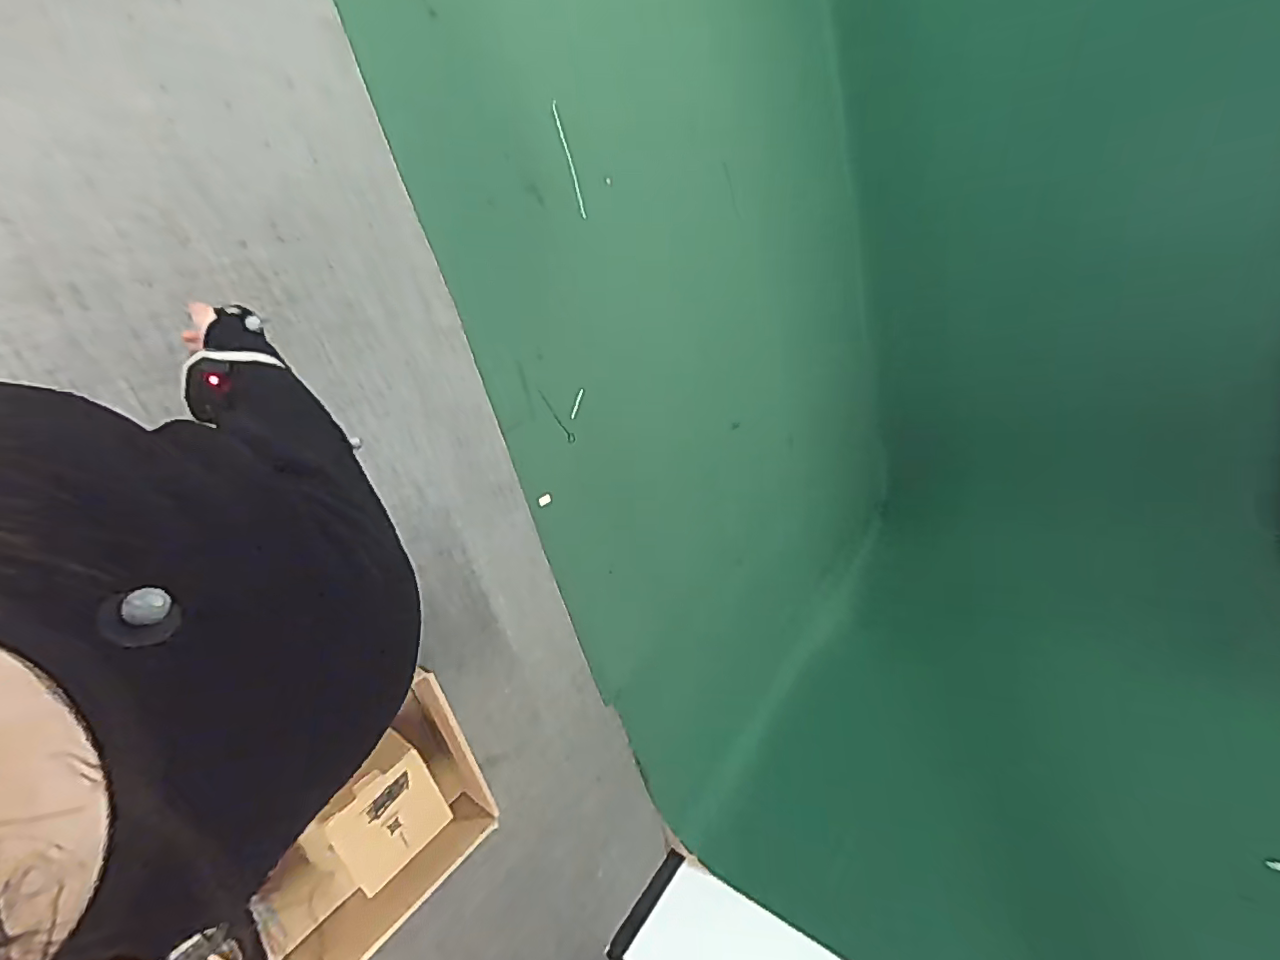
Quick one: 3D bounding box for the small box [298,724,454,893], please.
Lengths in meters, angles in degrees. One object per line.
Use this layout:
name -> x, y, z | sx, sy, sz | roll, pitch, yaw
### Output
small box -> -0.472, 0.566, 0.965 | 0.168, 0.176, 0.179 | -34, 117, -39
